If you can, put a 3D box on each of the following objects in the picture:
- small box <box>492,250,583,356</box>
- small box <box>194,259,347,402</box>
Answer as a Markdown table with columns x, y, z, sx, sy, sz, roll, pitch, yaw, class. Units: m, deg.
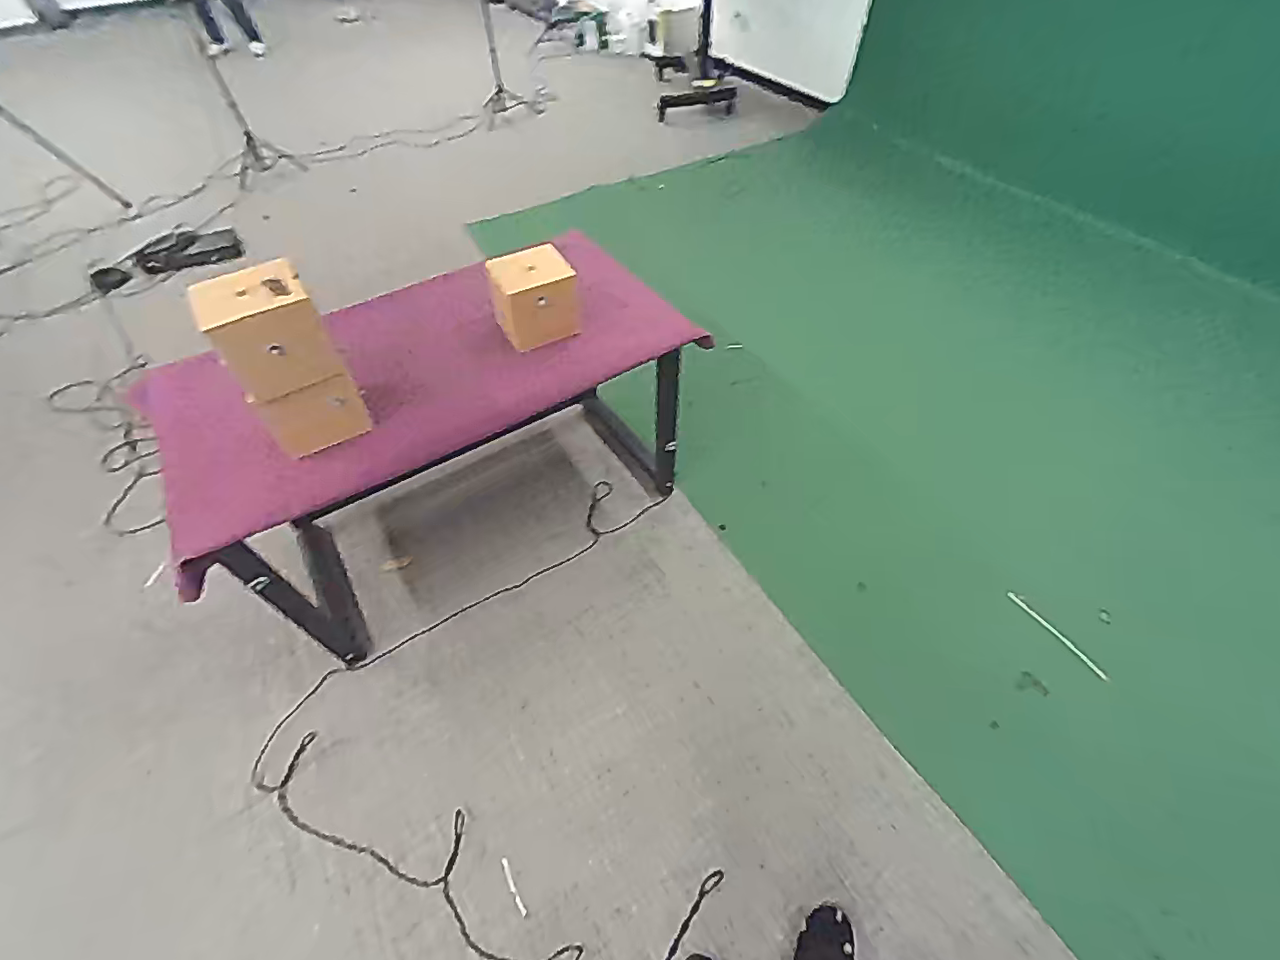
| x | y | z | sx | sy | sz | roll | pitch | yaw | class |
| --- | --- | --- | --- | --- | --- | --- | --- | --- | --- |
| -0.252 | -0.444 | 1.364 | 0.179 | 0.176 | 0.168 | -23 | 55 | -16 | small box |
| -0.680 | -0.279 | 1.017 | 0.179 | 0.176 | 0.168 | -29 | 57 | -21 | small box |
